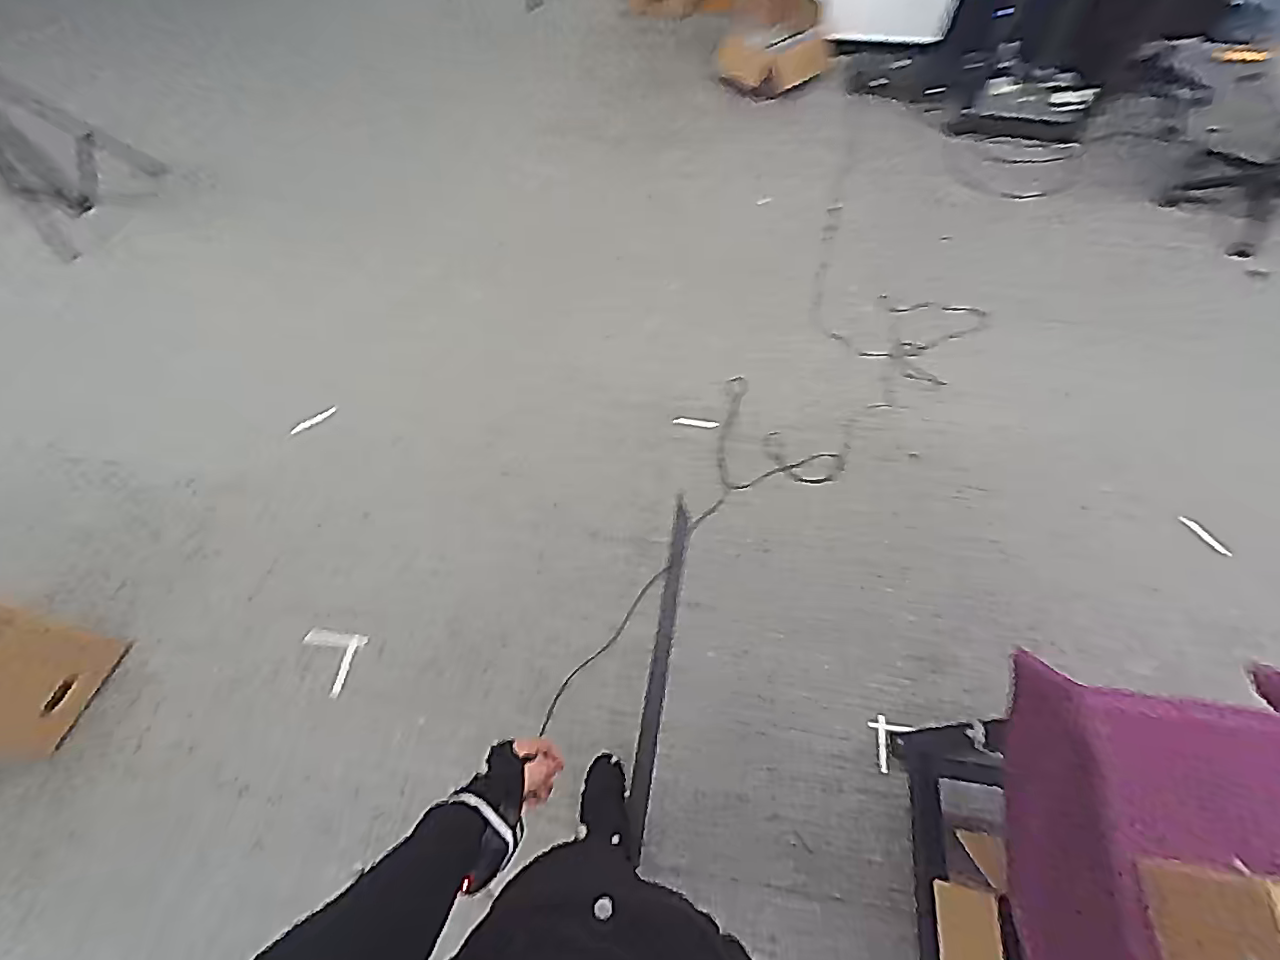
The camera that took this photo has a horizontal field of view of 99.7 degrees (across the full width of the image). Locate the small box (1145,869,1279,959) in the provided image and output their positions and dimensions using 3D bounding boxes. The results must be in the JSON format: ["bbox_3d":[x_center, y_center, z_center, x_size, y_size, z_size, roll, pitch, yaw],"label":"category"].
[{"bbox_3d":[0.694,0.535,0.567,0.168,0.176,0.179,8,63,4],"label":"small box"}]
